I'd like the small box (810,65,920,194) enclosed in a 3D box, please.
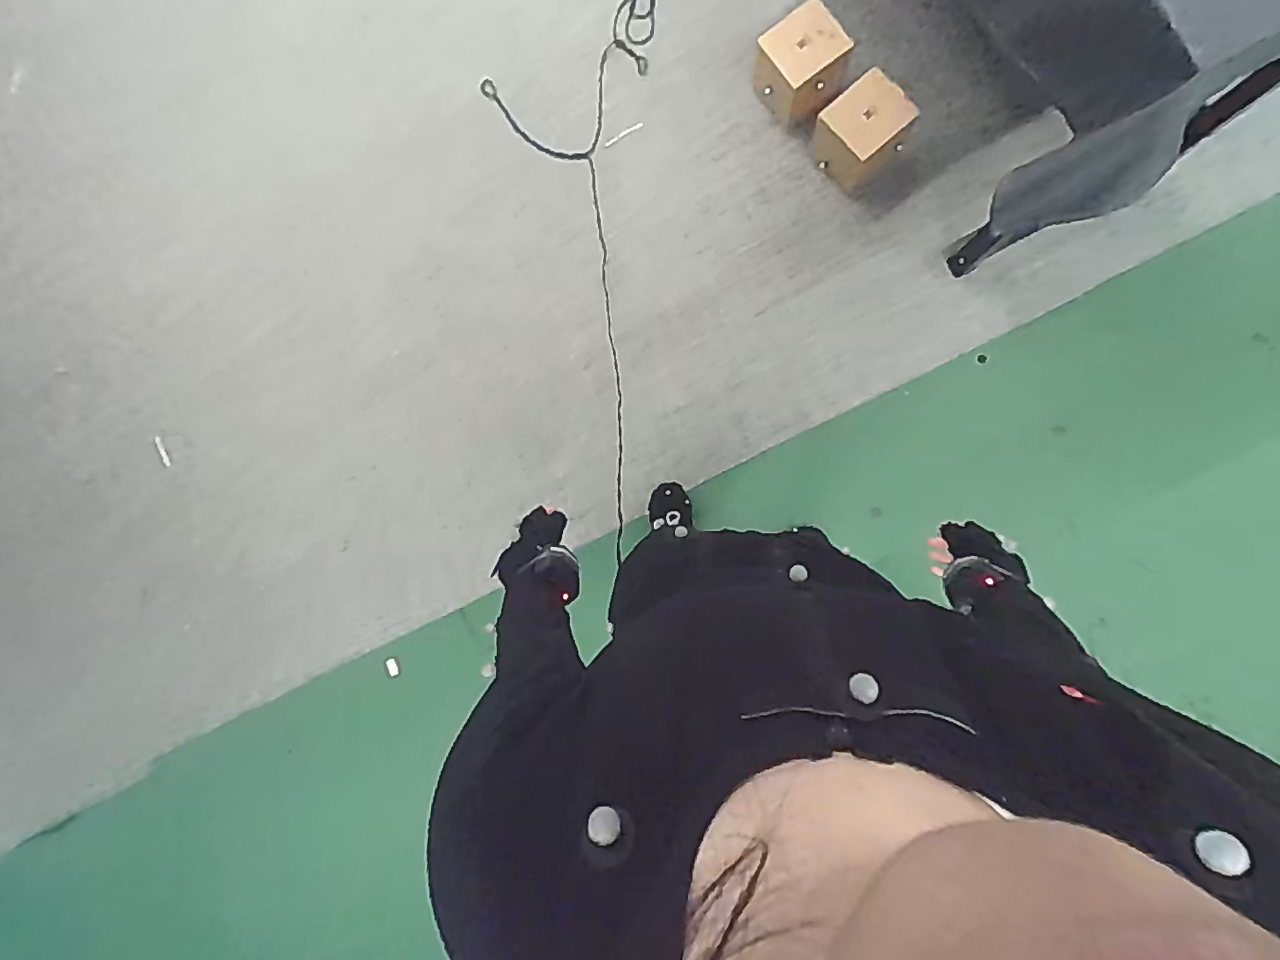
[{"bbox_3d":[0.559,-0.878,1.371,0.179,0.176,0.168,-39,84,5],"label":"small box"}]
